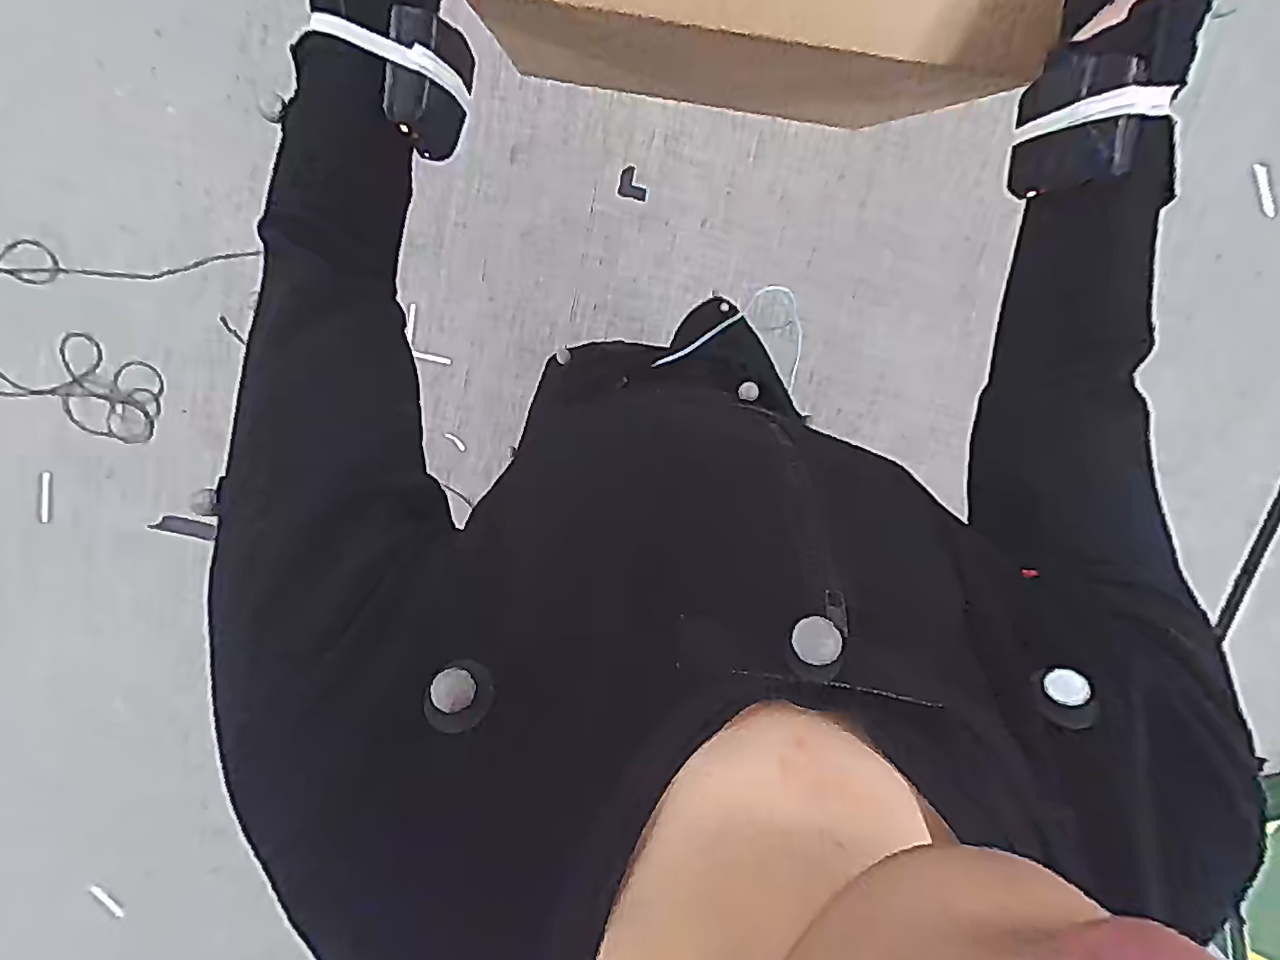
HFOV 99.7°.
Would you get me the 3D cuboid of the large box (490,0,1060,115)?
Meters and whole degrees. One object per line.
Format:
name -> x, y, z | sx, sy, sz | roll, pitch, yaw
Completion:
large box -> 0.091, -0.512, 0.423 | 0.408, 0.320, 0.320 | 5, 118, -6
